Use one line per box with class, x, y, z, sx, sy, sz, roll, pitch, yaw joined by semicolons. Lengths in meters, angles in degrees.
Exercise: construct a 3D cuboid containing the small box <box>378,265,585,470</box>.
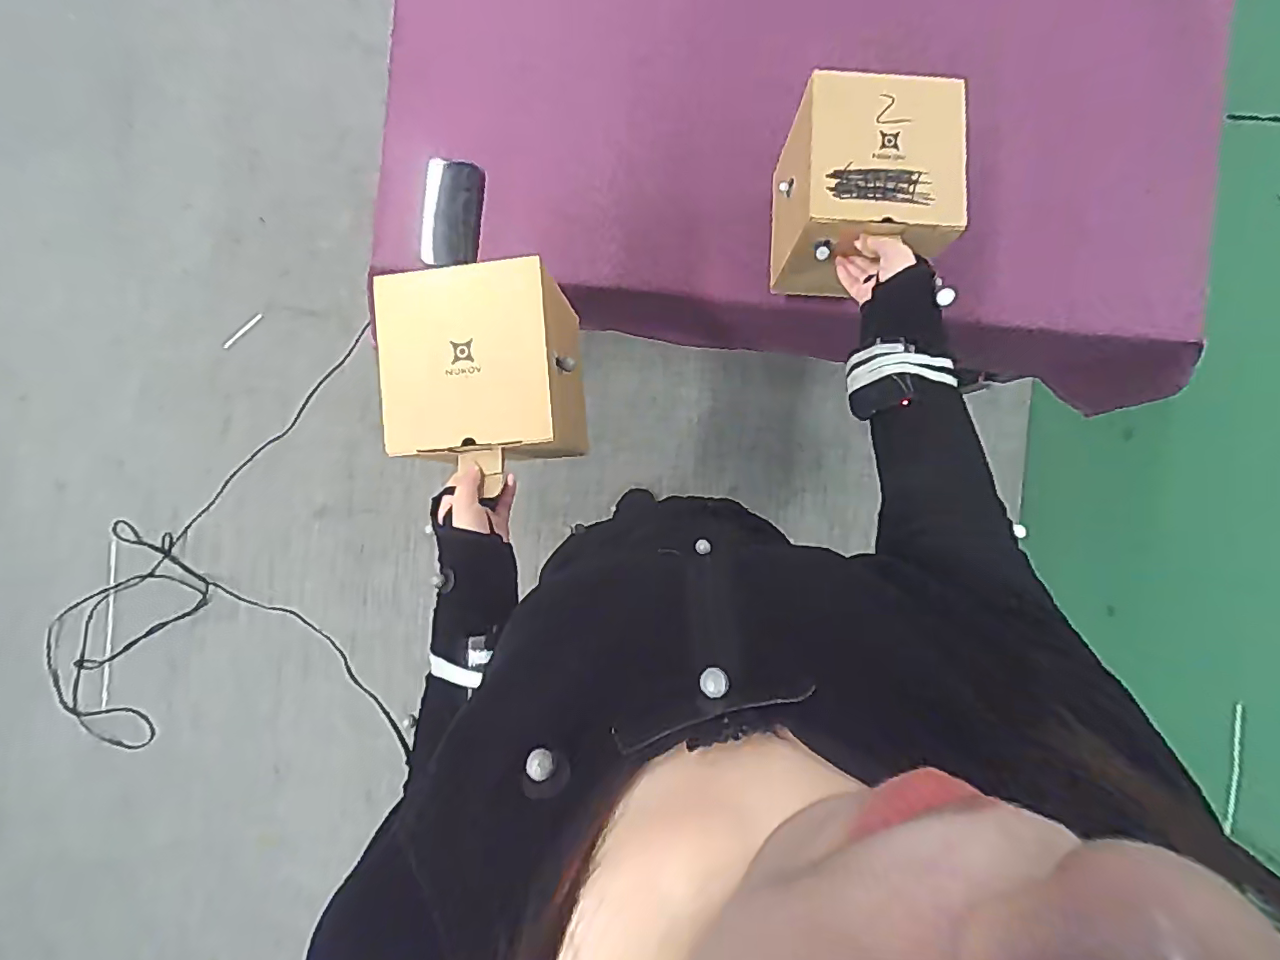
small box;-0.157;-0.107;0.586;0.168;0.176;0.179;-5;88;5
